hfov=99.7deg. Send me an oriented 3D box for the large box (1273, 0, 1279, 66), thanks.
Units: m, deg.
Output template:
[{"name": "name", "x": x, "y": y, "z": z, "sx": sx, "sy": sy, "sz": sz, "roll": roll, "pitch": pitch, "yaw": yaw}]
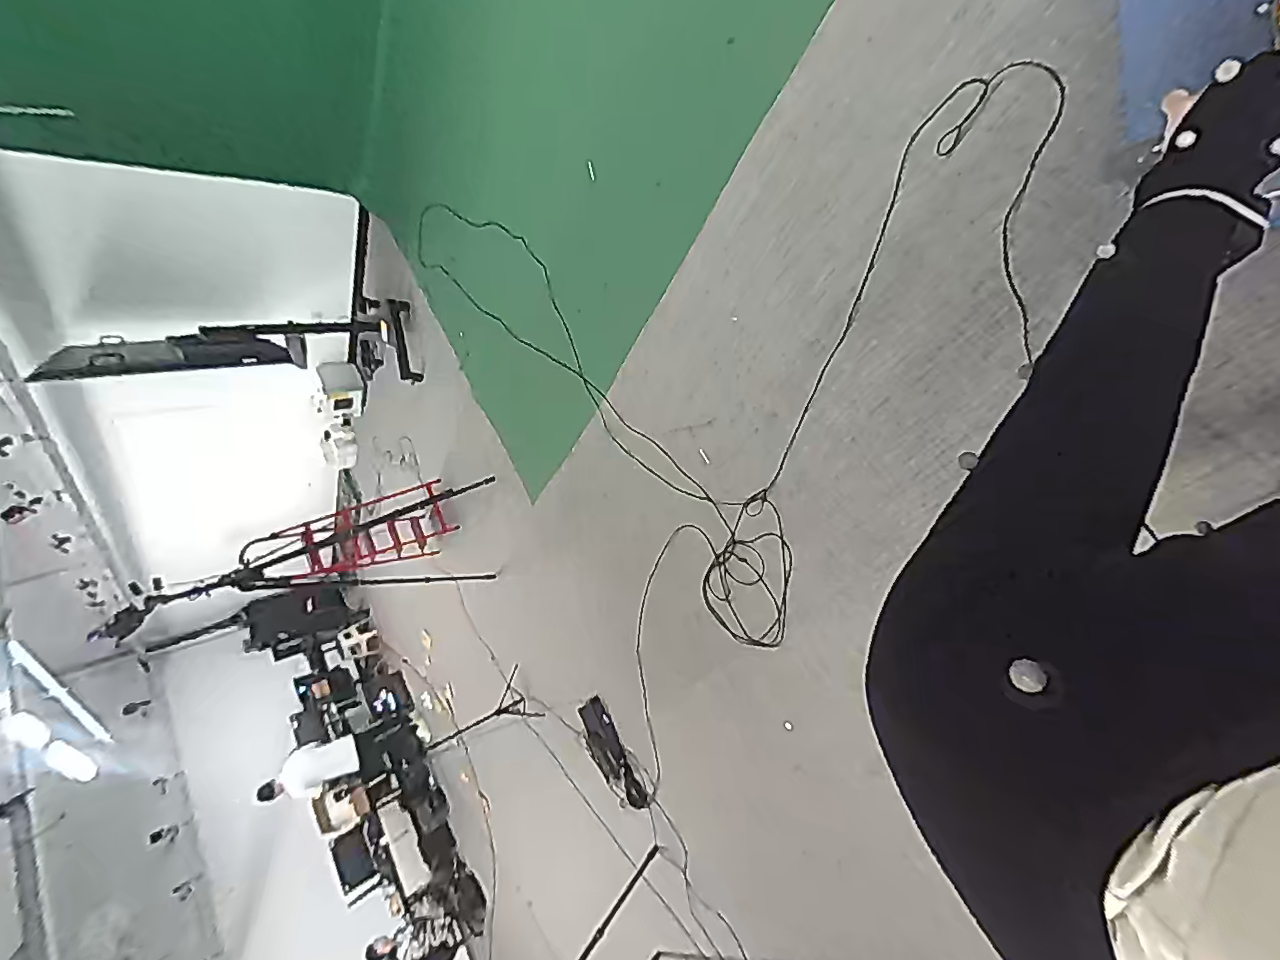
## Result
[{"name": "large box", "x": 1.018, "y": -0.705, "z": 0.665, "sx": 0.320, "sy": 0.320, "sz": 0.408, "roll": -4, "pitch": 98, "yaw": 49}]
